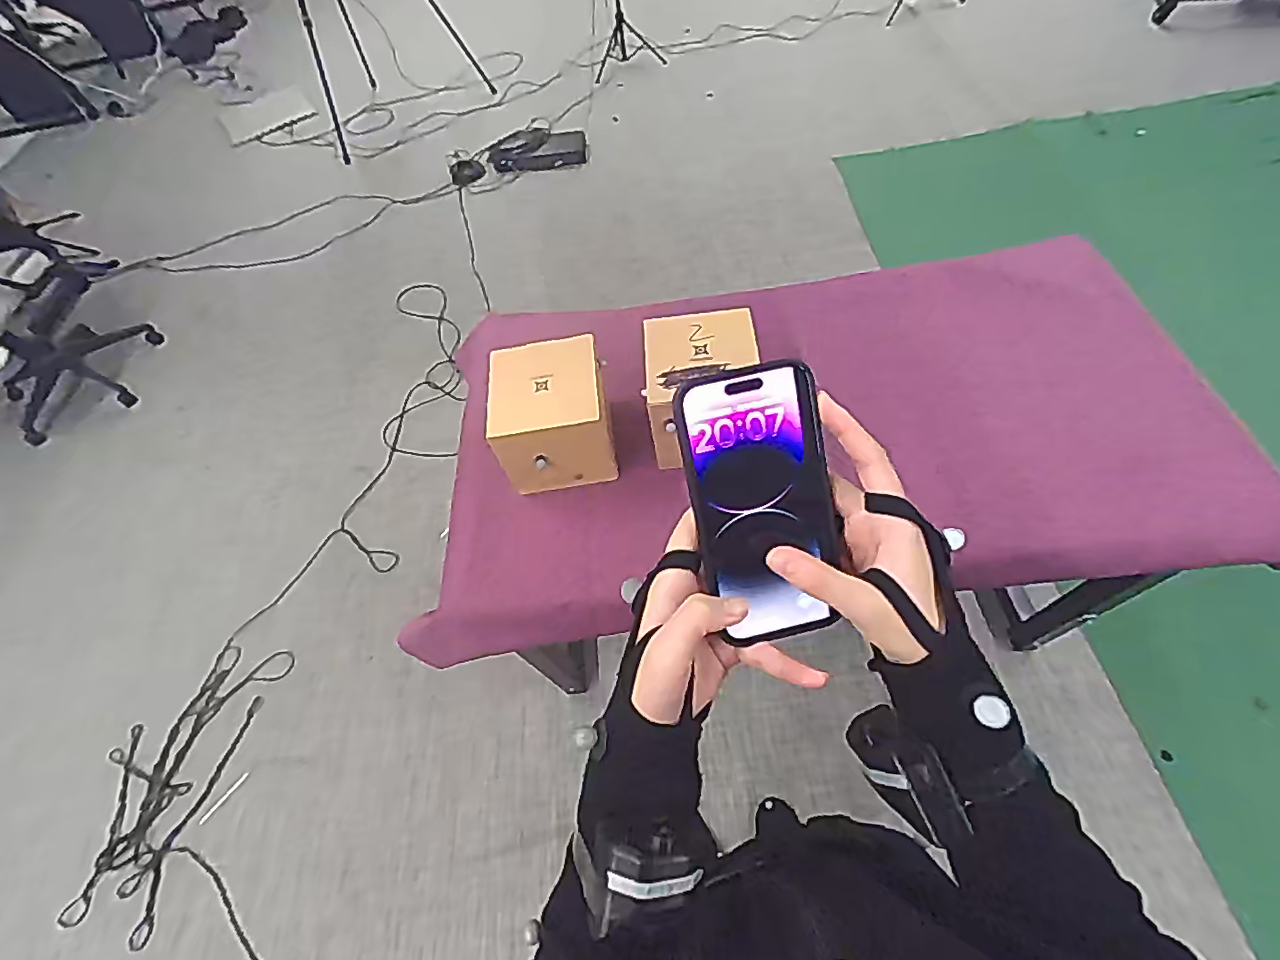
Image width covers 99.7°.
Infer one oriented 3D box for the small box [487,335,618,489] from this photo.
[{"bbox_3d":[-0.133,-0.099,0.867,0.168,0.176,0.179,-10,56,3],"label":"small box"}]
